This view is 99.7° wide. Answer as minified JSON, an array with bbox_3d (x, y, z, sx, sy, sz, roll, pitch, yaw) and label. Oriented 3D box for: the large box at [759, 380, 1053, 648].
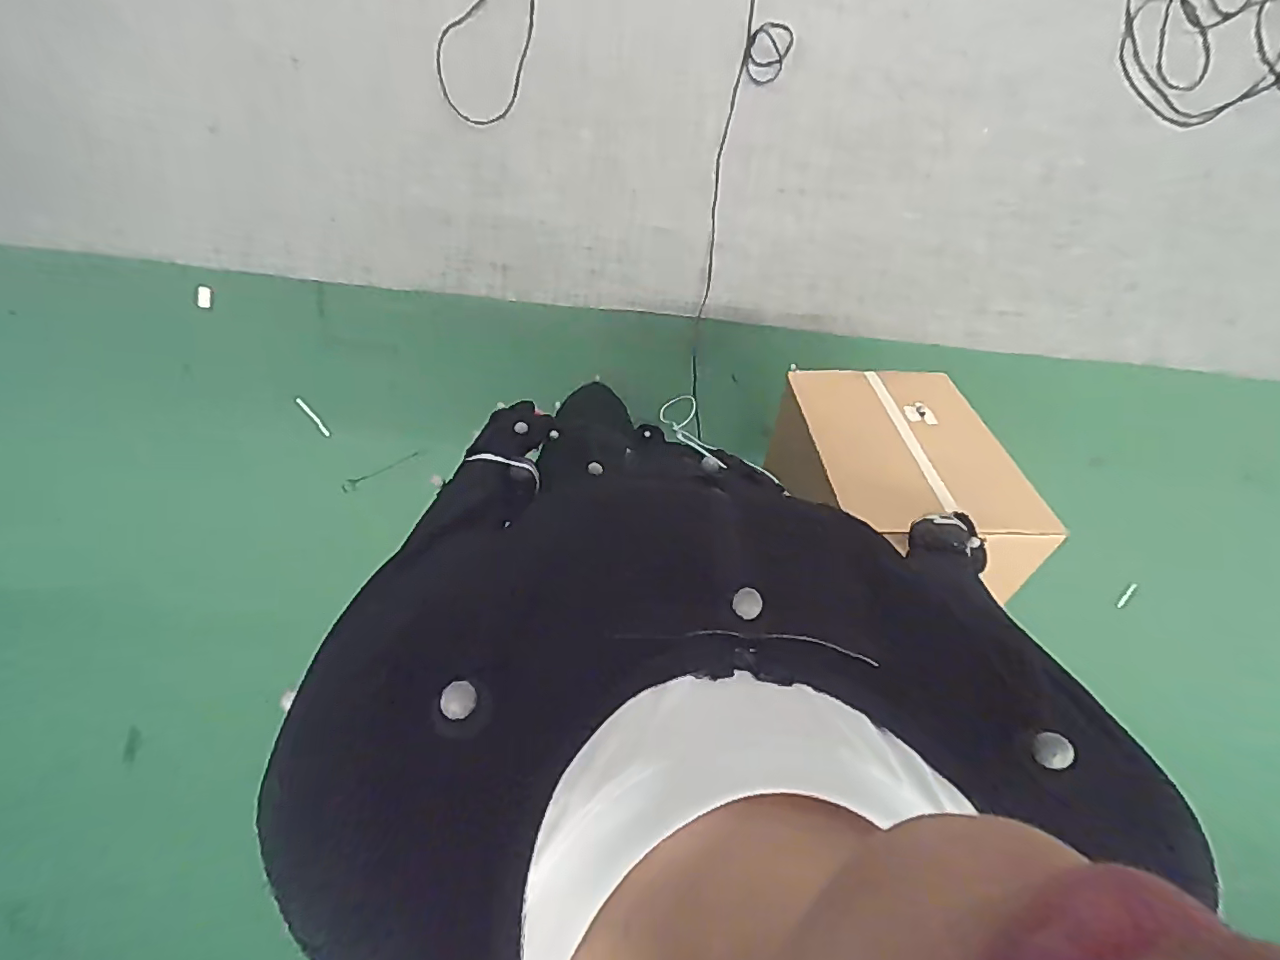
[{"bbox_3d":[0.431,0.057,1.009,0.320,0.408,0.320,1,133,-3],"label":"large box"}]
